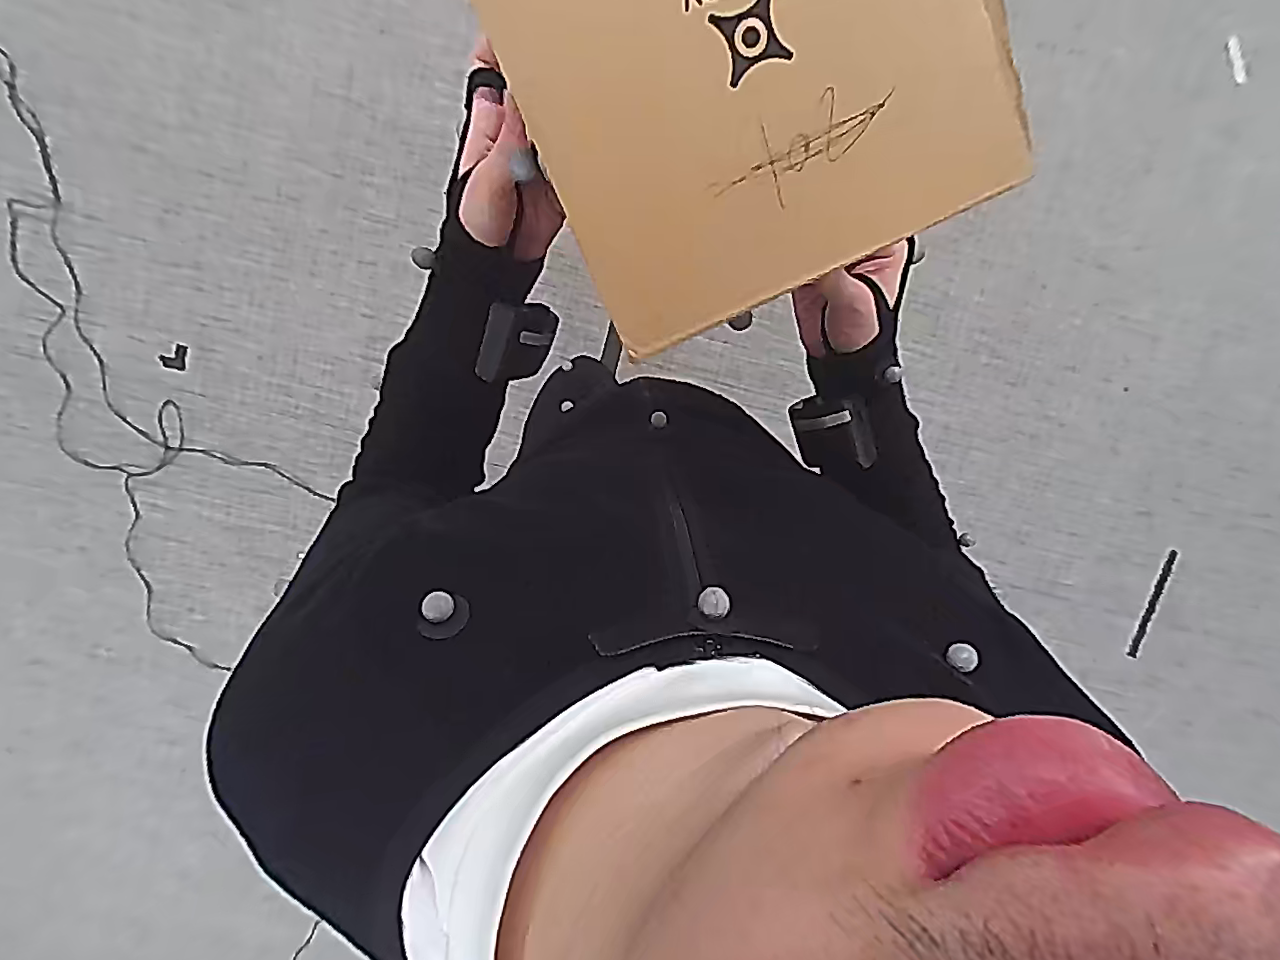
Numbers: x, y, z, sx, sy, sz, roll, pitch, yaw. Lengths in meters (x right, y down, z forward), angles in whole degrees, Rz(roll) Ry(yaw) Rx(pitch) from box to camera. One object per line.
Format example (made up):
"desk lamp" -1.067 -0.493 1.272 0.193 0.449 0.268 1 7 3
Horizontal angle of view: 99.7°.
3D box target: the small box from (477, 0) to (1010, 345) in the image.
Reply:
"small box" 0.033 -0.184 0.273 0.168 0.176 0.179 -25 106 6
